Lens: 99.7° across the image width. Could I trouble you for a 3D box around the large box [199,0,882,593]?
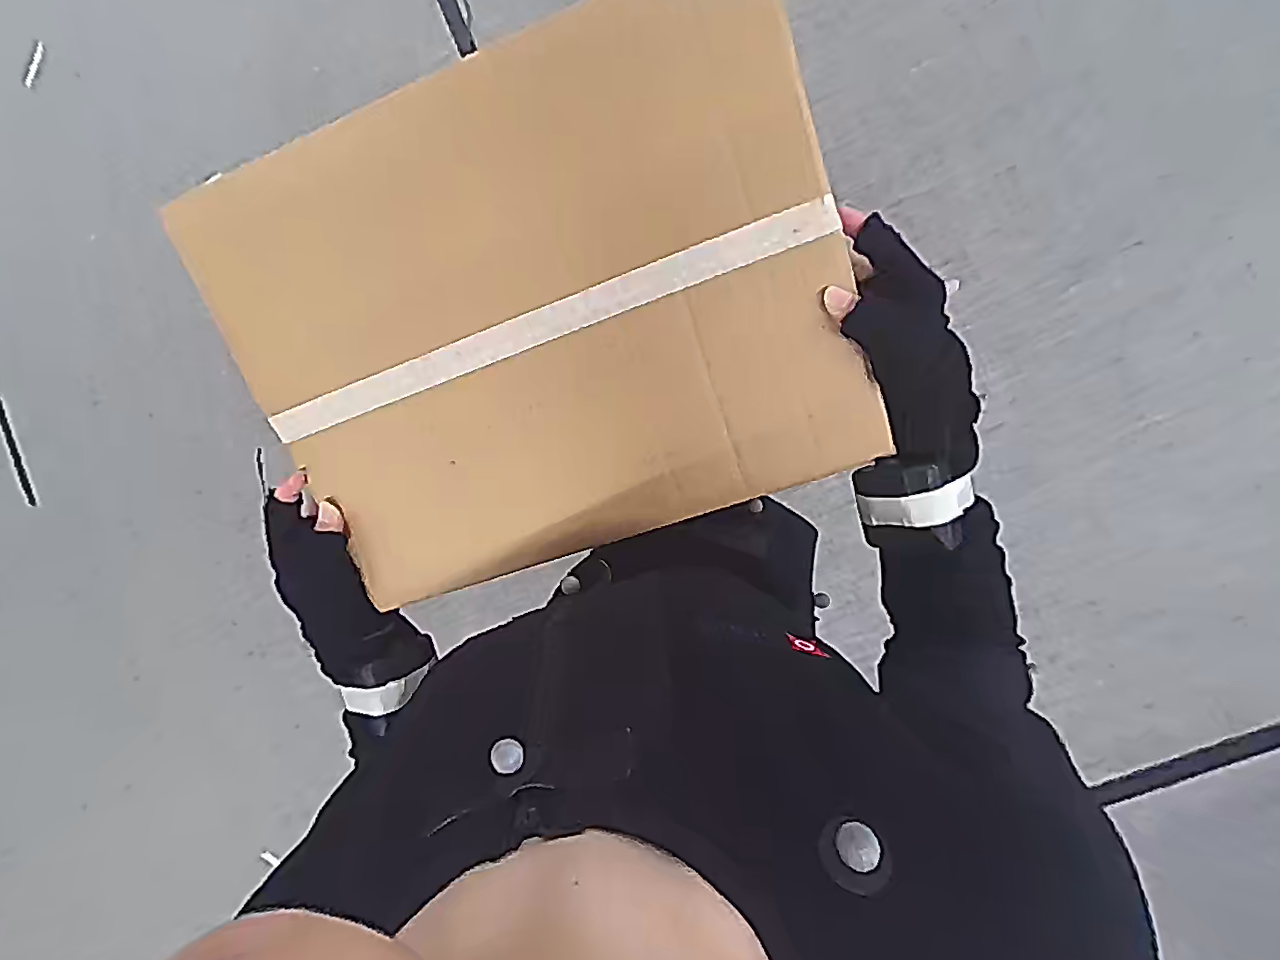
[{"bbox_3d":[-0.057,-0.147,0.511,0.408,0.320,0.320,-18,105,10],"label":"large box"}]
